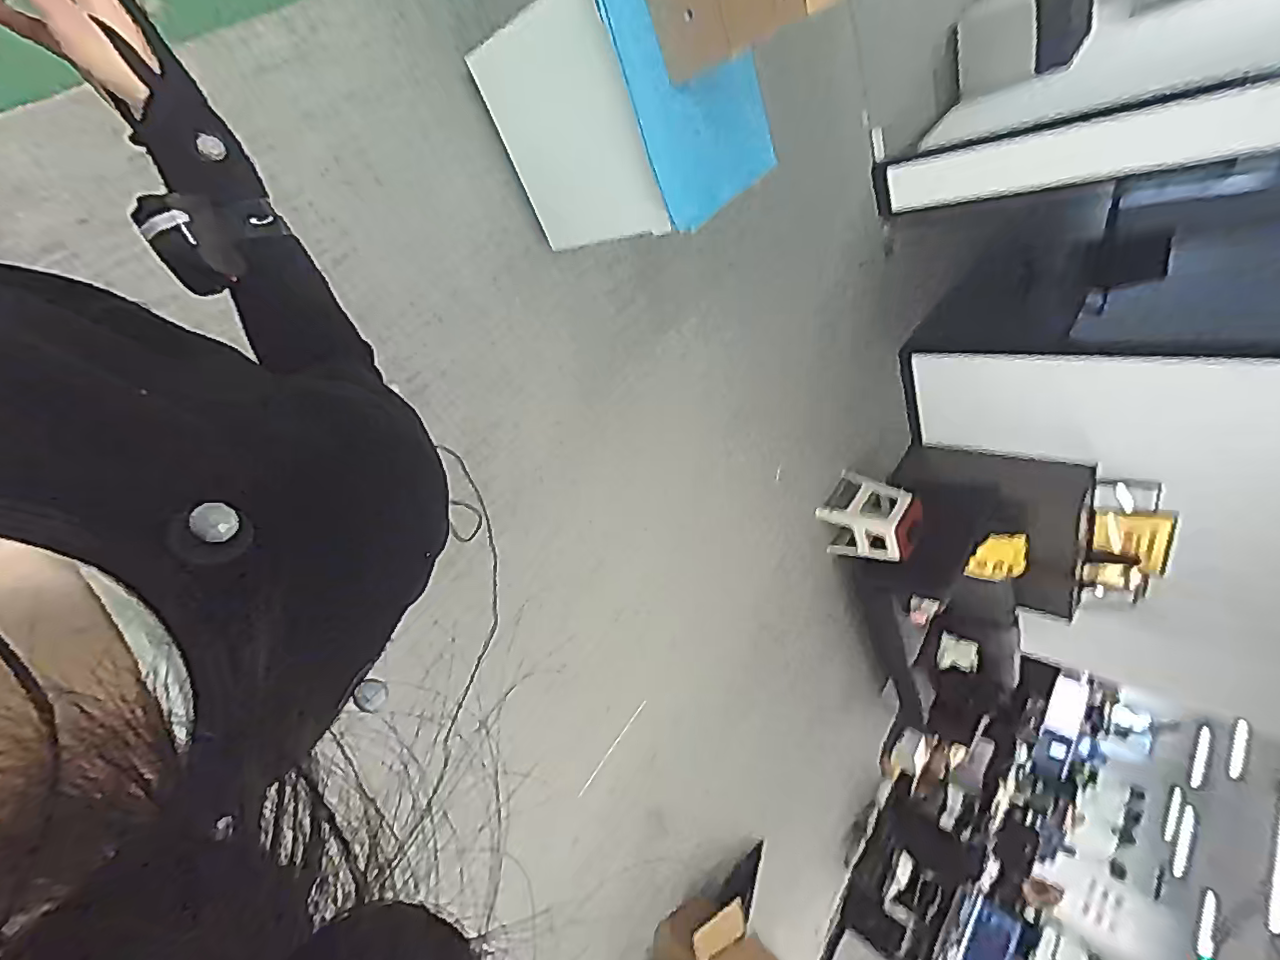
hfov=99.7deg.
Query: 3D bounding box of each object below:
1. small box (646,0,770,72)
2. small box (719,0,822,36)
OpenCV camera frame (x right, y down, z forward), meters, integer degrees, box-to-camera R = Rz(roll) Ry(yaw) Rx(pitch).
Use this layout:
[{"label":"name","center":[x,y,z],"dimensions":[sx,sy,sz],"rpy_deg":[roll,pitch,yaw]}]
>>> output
[{"label":"small box","center":[0.133,-0.963,1.091],"dimensions":[0.168,0.176,0.179],"rpy_deg":[-48,129,-26]},{"label":"small box","center":[0.243,-0.939,0.971],"dimensions":[0.168,0.176,0.179],"rpy_deg":[-48,130,-26]}]
